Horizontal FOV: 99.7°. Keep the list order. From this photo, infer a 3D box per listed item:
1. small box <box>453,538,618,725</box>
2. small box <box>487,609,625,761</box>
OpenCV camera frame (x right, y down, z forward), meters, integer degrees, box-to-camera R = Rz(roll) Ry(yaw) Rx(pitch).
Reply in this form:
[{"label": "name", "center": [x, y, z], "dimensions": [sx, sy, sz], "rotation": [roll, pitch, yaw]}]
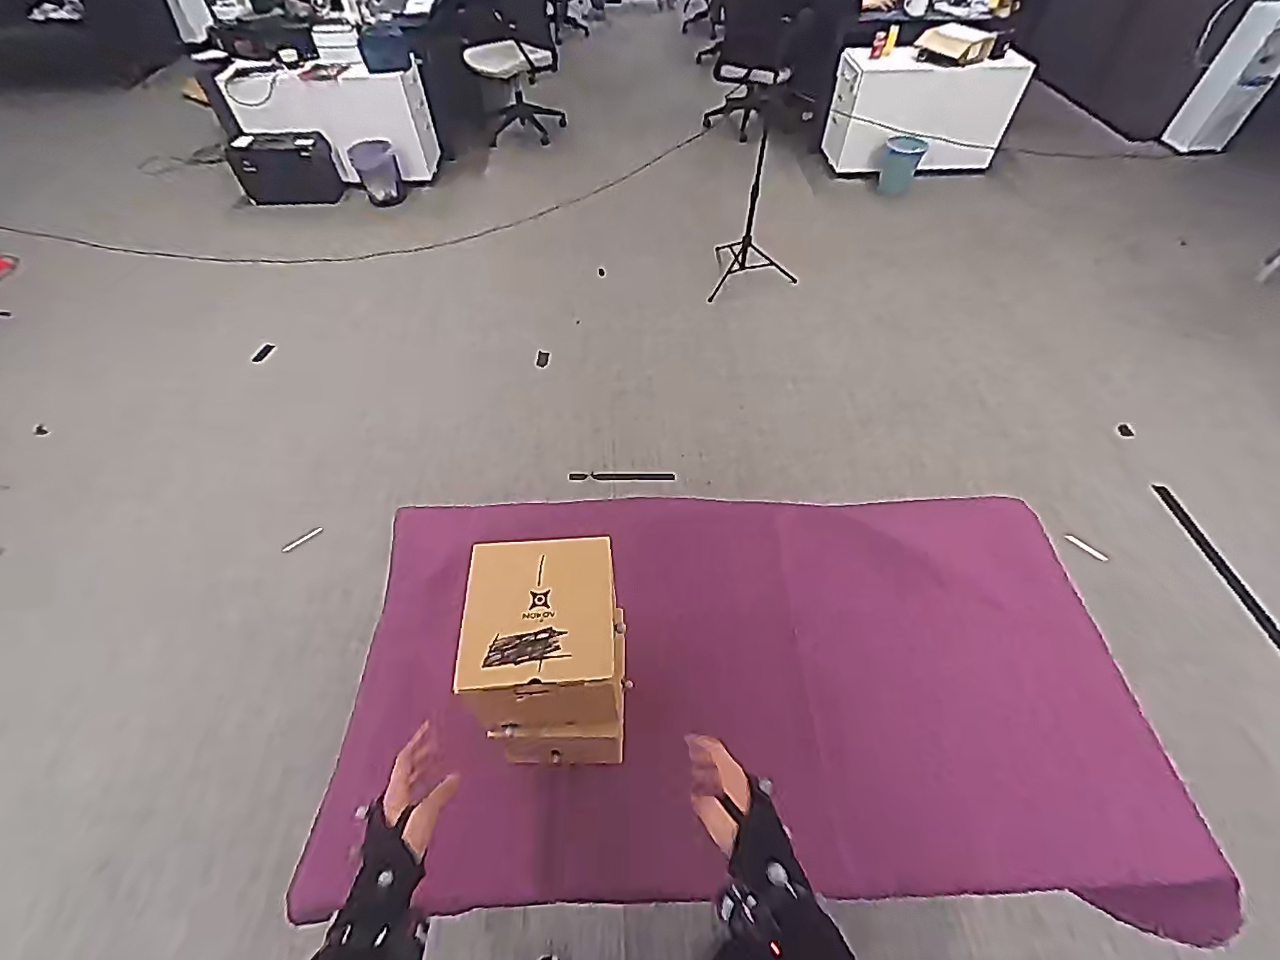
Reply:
[{"label": "small box", "center": [-0.113, 0.191, 0.663], "dimensions": [0.168, 0.176, 0.179], "rotation": [-2, 52, -2]}, {"label": "small box", "center": [-0.109, 0.300, 0.786], "dimensions": [0.168, 0.176, 0.179], "rotation": [1, 52, 0]}]
